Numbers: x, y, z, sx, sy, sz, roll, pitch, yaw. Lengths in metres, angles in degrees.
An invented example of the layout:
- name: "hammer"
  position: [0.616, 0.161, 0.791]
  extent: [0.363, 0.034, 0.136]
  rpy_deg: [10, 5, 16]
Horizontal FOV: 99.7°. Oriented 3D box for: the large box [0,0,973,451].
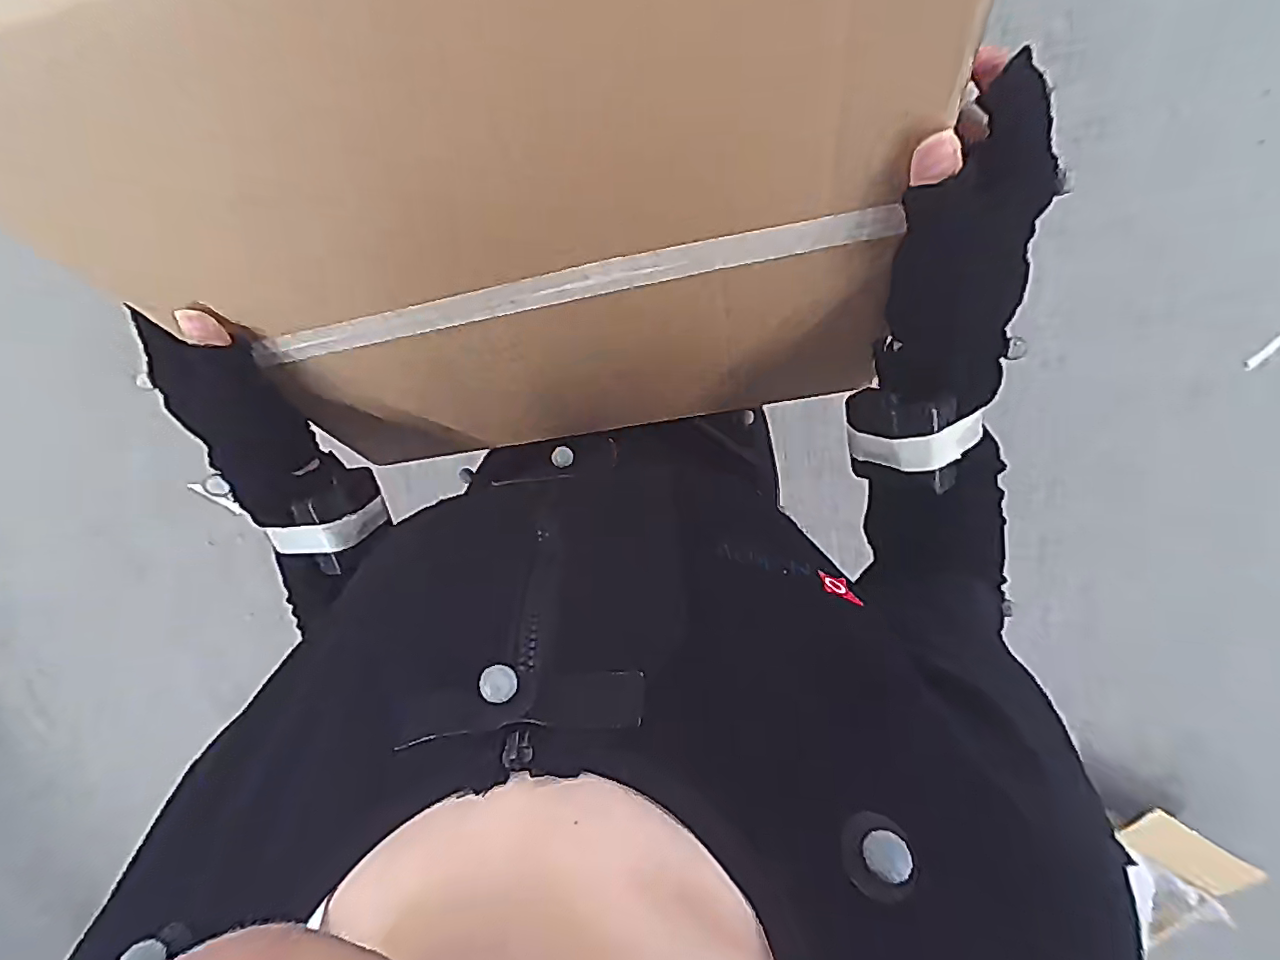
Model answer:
- name: "large box"
  position: [-0.066, -0.248, 0.364]
  extent: [0.408, 0.320, 0.320]
  rpy_deg: [-8, 156, 9]
